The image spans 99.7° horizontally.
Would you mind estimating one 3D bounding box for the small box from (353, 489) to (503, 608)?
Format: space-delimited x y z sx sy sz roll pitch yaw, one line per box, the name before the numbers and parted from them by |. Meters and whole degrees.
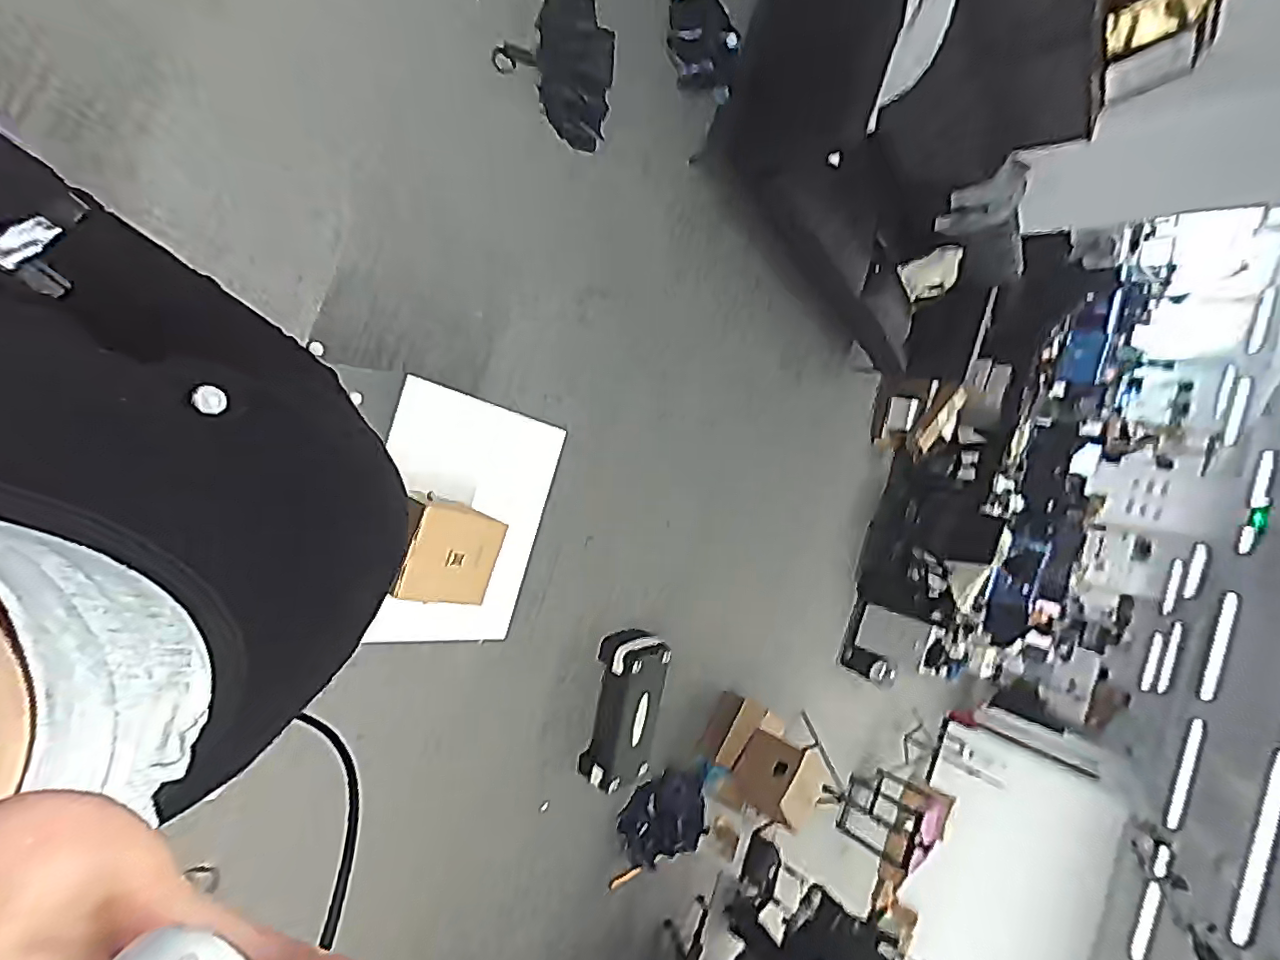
small box | -0.392 0.122 0.992 0.179 0.176 0.168 22 86 -51
